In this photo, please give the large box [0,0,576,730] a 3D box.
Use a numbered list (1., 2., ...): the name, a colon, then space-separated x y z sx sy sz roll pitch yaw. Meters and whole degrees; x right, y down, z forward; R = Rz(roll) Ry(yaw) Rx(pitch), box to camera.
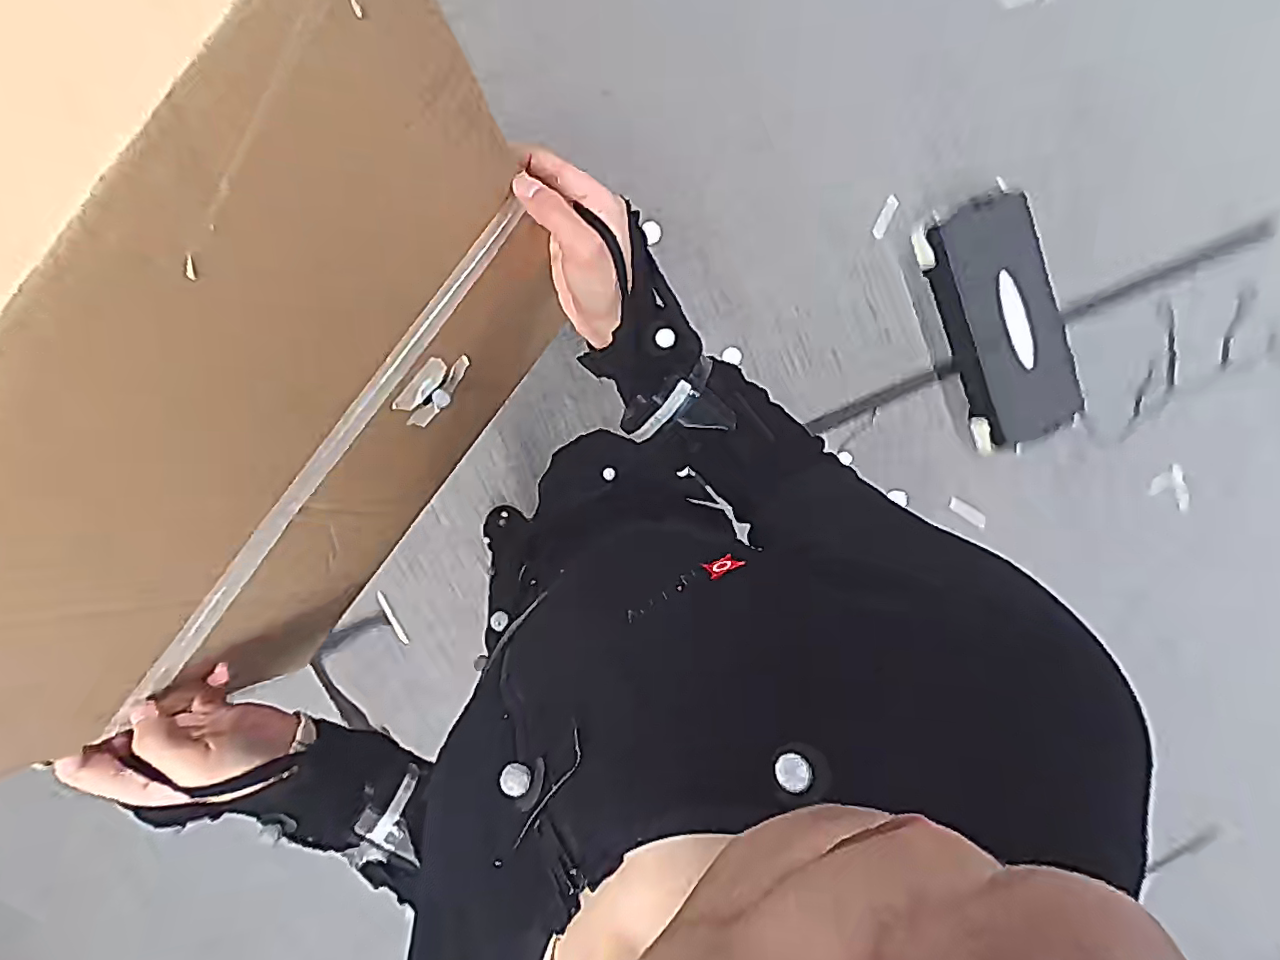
1. large box: -0.310 -0.117 0.344 0.320 0.320 0.408 37 89 8
